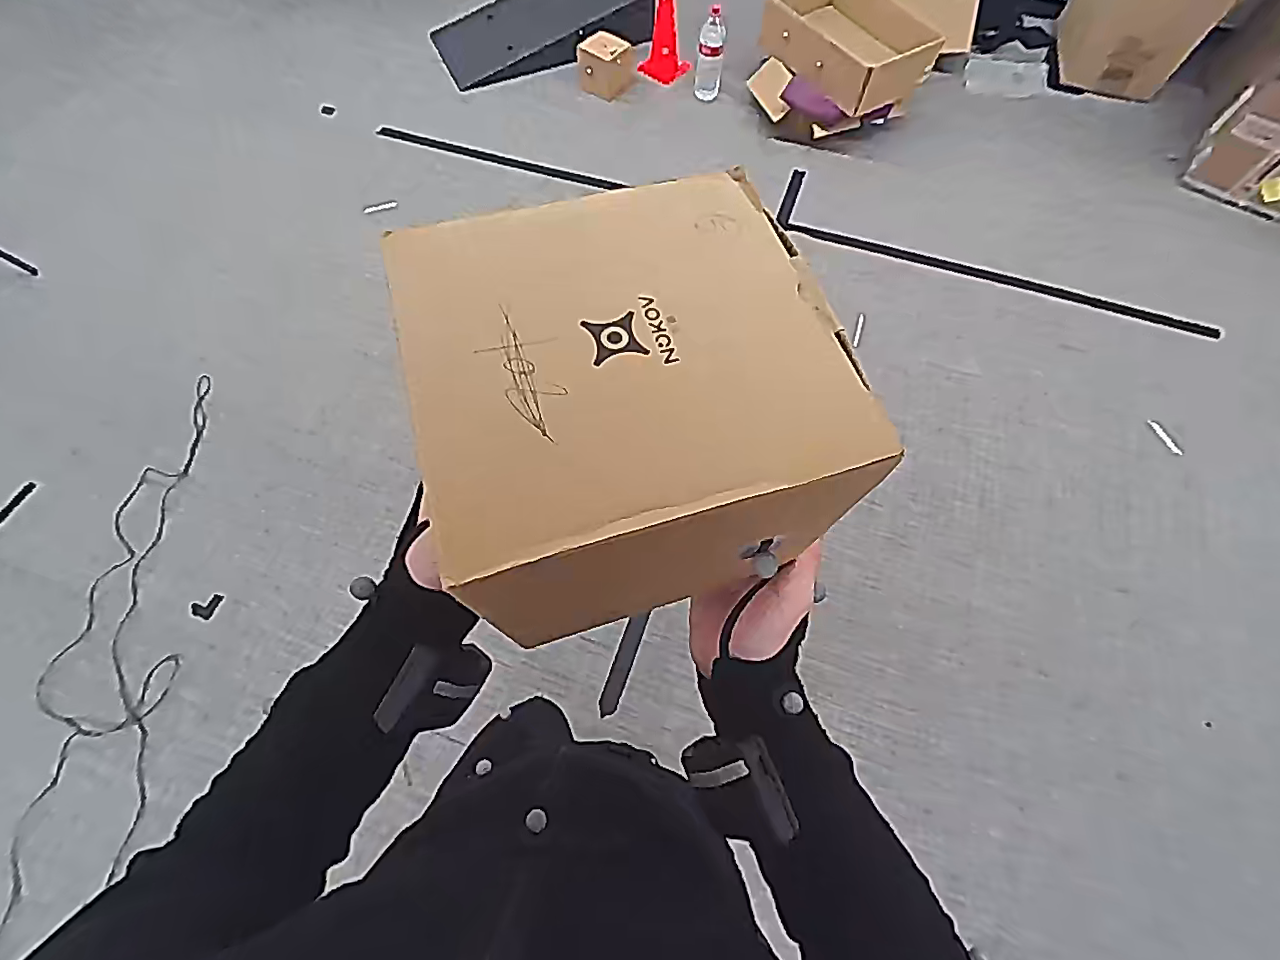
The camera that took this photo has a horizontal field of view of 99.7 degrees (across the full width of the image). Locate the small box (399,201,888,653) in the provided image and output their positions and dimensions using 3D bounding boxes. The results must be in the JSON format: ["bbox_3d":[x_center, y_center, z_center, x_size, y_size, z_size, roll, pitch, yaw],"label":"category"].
[{"bbox_3d":[-0.008,-0.016,0.305,0.179,0.176,0.168,-16,66,-9],"label":"small box"}]
